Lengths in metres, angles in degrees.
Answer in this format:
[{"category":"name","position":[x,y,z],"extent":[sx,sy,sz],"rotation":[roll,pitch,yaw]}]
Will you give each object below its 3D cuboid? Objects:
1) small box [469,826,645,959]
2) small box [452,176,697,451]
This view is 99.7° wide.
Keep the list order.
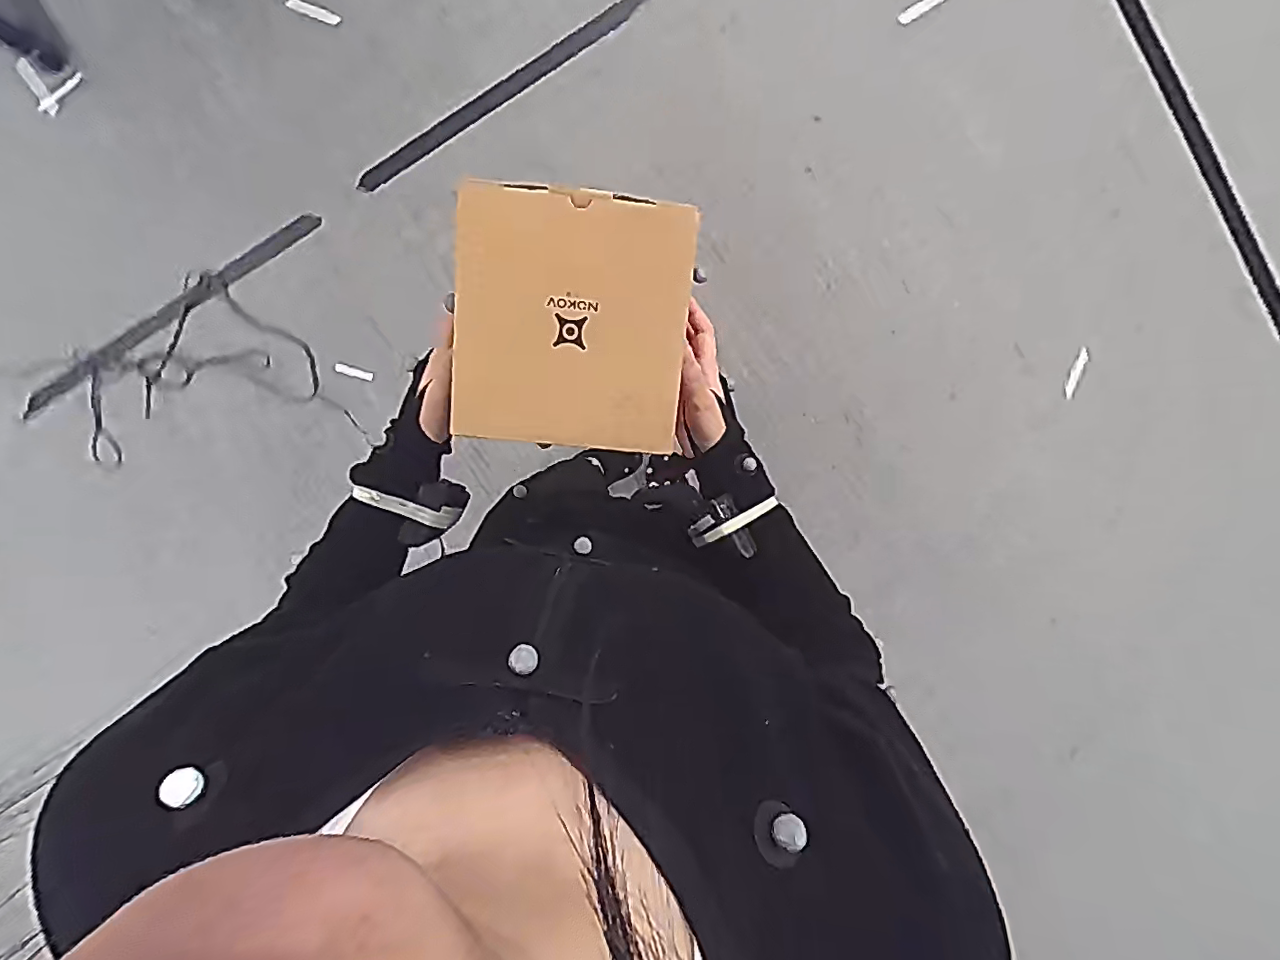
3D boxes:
[{"category":"small box","position":[-0.099,0.621,0.724],"extent":[0.168,0.176,0.179],"rotation":[-29,95,2]},{"category":"small box","position":[-0.051,-0.129,0.458],"extent":[0.168,0.176,0.179],"rotation":[4,101,-3]}]
